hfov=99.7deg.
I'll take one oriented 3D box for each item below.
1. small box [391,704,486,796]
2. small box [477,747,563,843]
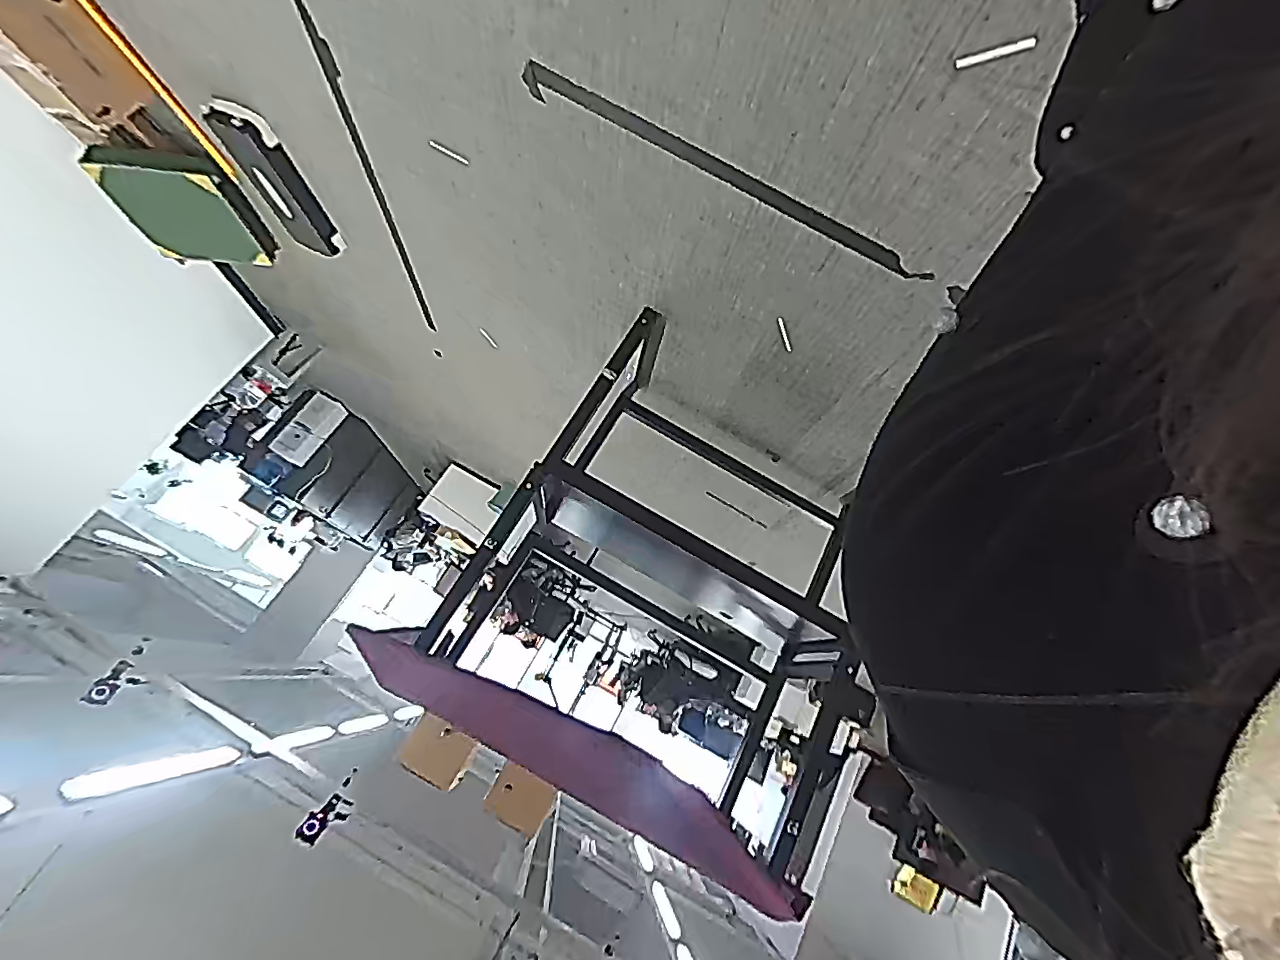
[{"bbox_3d":[-0.574,0.770,1.565,0.179,0.176,0.168,29,160,5],"label":"small box"},{"bbox_3d":[-0.347,0.912,1.585,0.179,0.176,0.168,30,160,2],"label":"small box"}]
